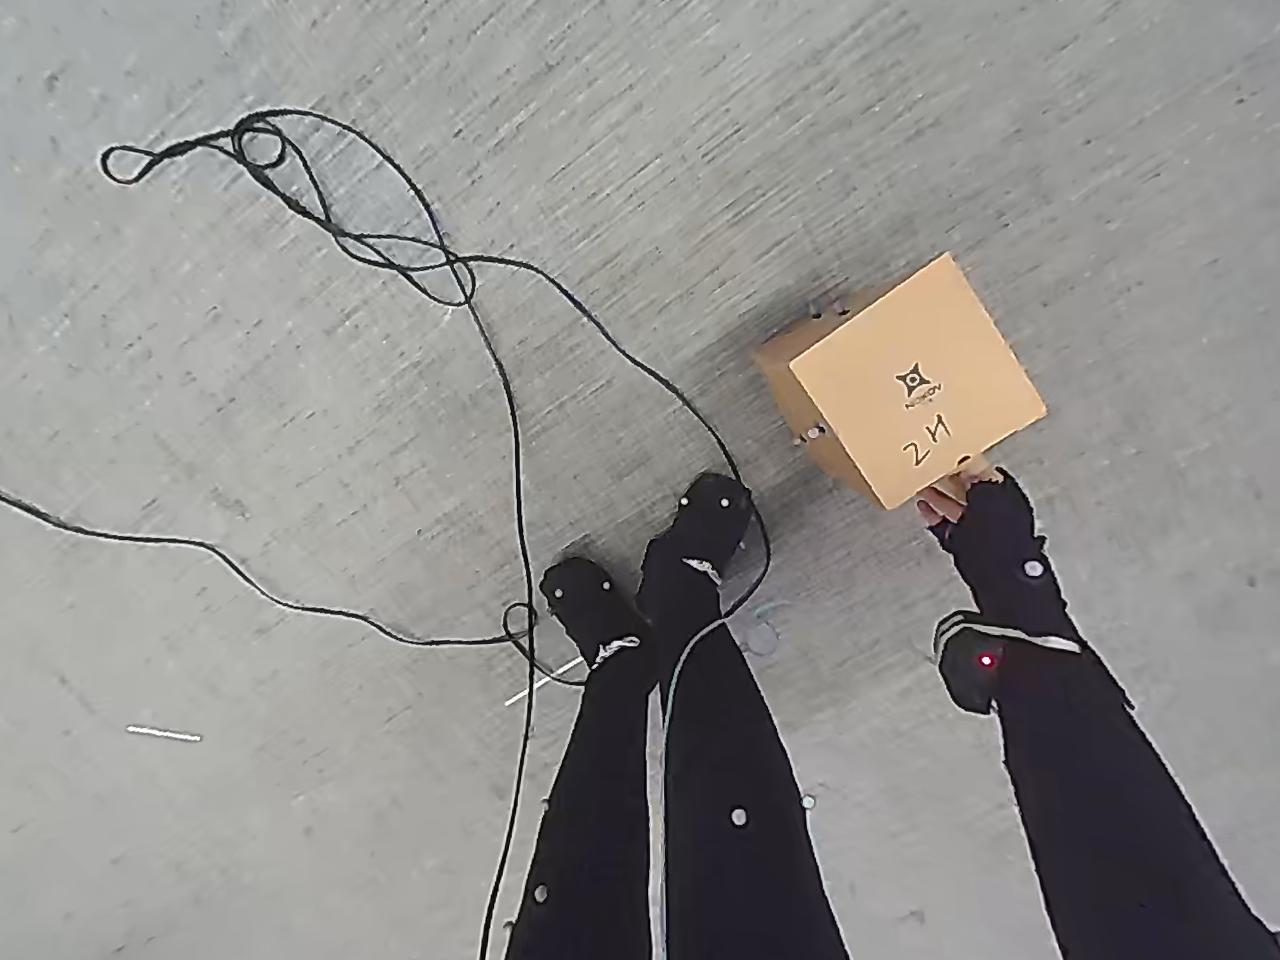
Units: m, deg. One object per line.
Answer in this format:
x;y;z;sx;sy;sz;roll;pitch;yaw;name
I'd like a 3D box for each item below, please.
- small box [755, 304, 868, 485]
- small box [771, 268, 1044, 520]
0.279;-0.126;0.743;0.168;0.176;0.179;-30;106;10;small box
0.258;-0.088;0.572;0.168;0.176;0.179;-34;96;10;small box
